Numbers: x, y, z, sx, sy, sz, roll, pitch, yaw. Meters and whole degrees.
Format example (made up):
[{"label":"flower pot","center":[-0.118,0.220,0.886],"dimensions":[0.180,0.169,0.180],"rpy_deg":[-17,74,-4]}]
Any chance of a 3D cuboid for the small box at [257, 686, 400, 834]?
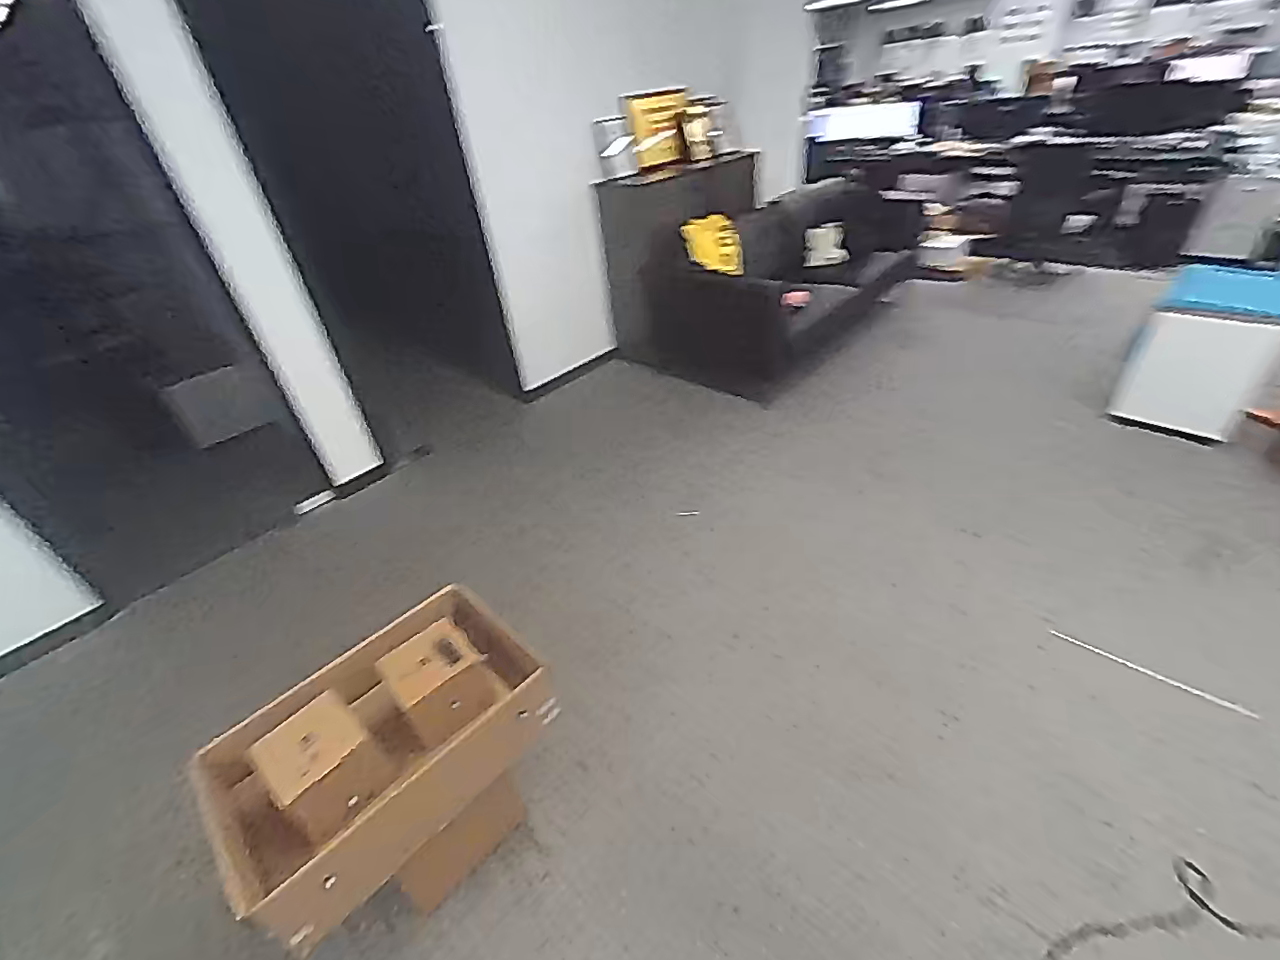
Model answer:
[{"label":"small box","center":[-0.625,0.566,1.096],"dimensions":[0.179,0.176,0.168],"rpy_deg":[24,45,35]}]
